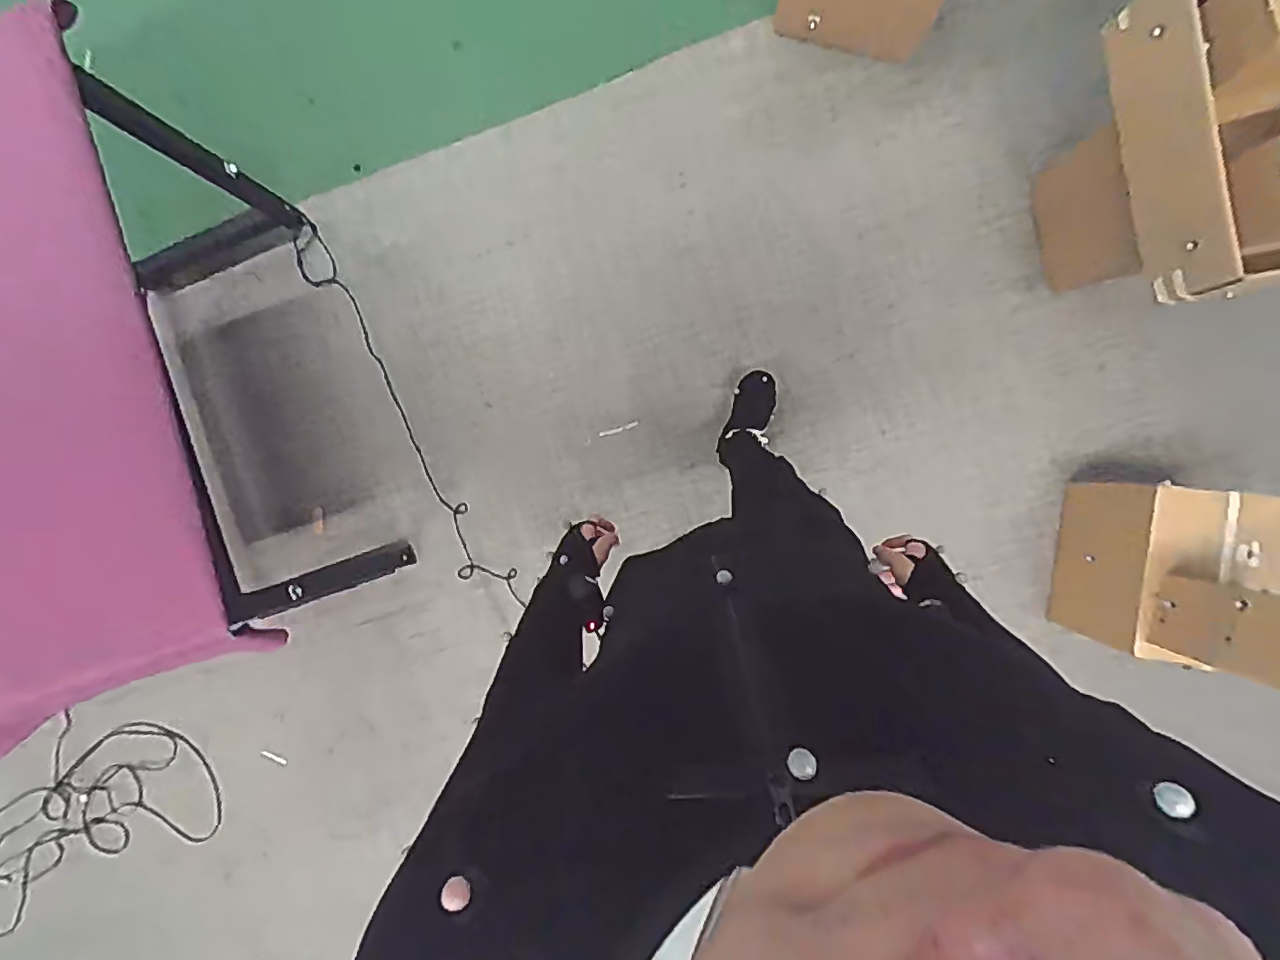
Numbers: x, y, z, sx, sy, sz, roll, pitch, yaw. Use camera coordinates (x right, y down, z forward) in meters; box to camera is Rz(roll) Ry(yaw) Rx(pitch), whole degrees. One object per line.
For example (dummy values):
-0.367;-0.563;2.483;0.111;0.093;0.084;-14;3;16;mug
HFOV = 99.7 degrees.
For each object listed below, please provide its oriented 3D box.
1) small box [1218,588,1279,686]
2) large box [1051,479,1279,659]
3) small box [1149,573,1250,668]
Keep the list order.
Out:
1.215;0.301;0.967;0.179;0.176;0.168;13;92;5;small box
1.311;0.212;1.366;0.320;0.320;0.408;6;91;5;large box
1.239;0.302;1.129;0.179;0.176;0.168;12;92;7;small box
